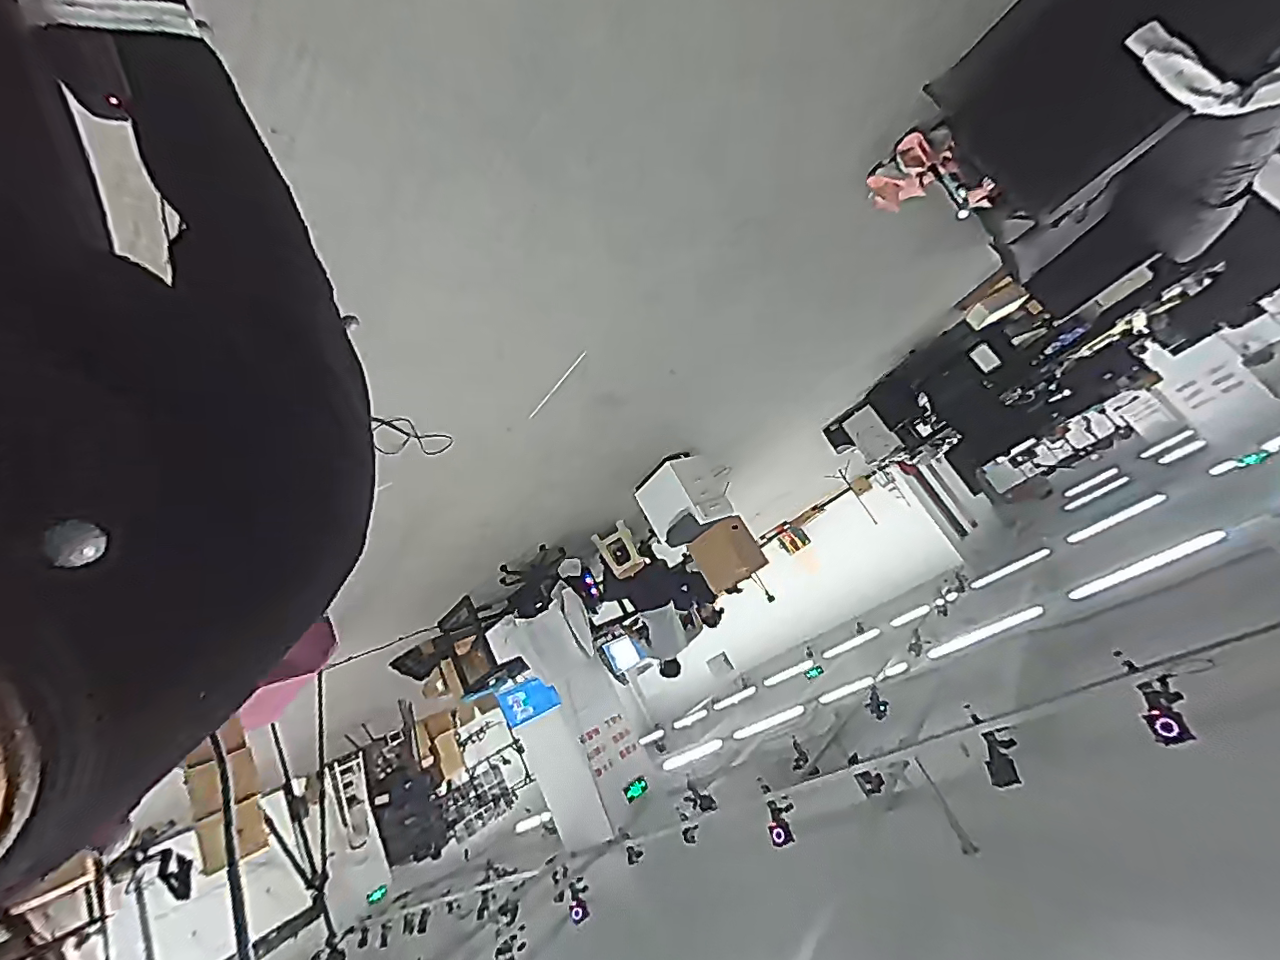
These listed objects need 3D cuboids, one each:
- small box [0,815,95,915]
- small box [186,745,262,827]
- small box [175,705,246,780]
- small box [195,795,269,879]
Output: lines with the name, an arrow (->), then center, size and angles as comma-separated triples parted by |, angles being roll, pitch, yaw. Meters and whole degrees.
small box -> -1.696, 1.090, 1.538 | 0.179, 0.176, 0.168 | -11, 155, -46
small box -> -1.418, 1.037, 1.837 | 0.179, 0.176, 0.168 | -10, 154, -46
small box -> -1.512, 0.915, 1.899 | 0.168, 0.176, 0.179 | -9, 154, -46
small box -> -1.341, 1.166, 1.774 | 0.168, 0.176, 0.179 | -11, 155, -42
